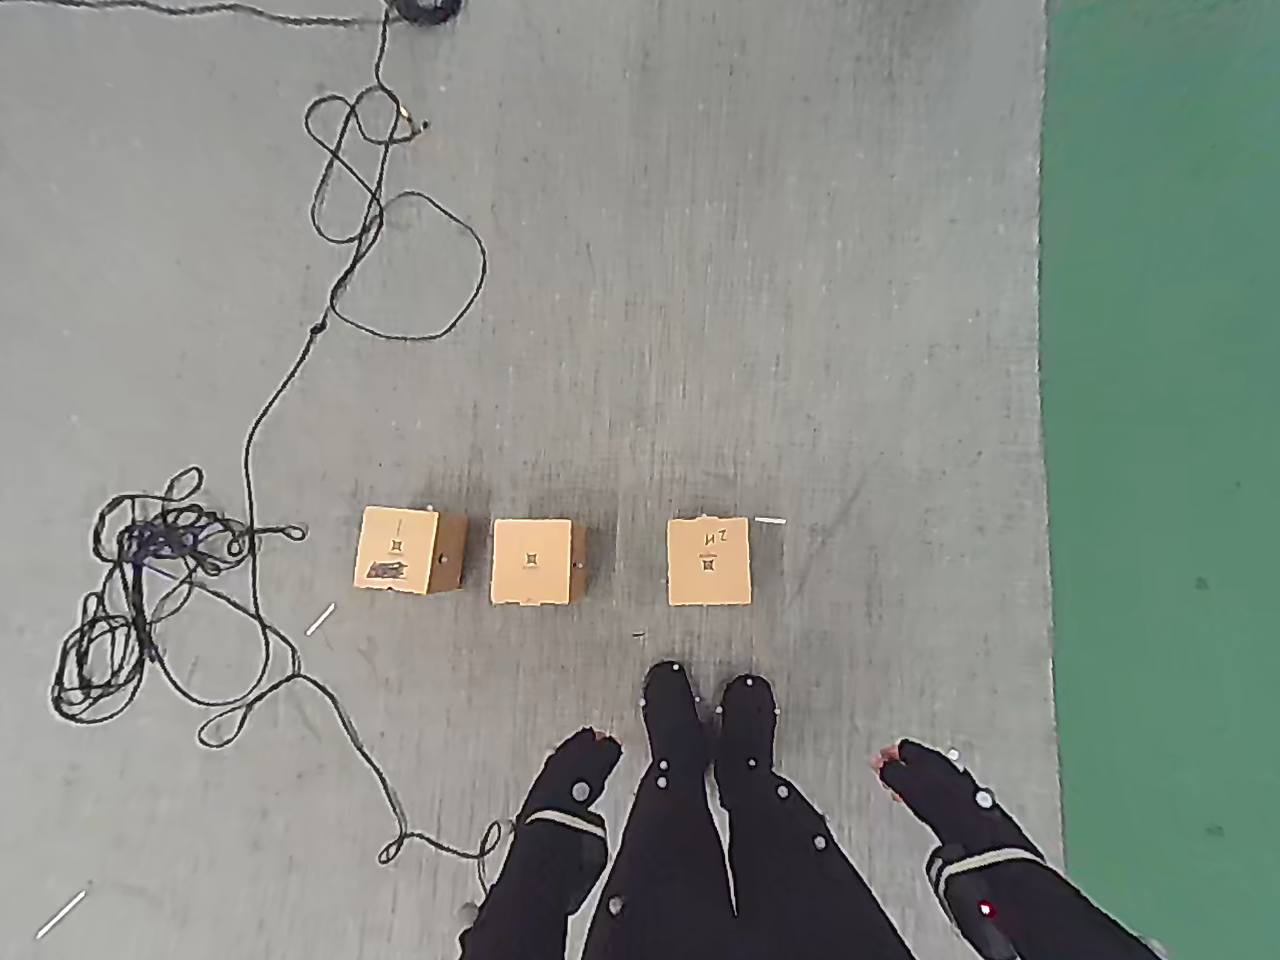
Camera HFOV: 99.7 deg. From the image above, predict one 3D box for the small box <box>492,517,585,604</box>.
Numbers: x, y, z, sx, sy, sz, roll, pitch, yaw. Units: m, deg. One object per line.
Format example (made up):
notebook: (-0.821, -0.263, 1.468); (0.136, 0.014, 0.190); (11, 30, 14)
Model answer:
small box: (-0.219, 0.177, 1.201); (0.168, 0.176, 0.179); (0, 83, 4)

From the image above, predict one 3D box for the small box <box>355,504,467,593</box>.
small box: (-0.508, 0.155, 1.223); (0.168, 0.176, 0.179); (5, 82, 5)

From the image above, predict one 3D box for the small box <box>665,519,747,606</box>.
small box: (0.140, 0.175, 1.174); (0.168, 0.176, 0.179); (-1, 83, 3)
